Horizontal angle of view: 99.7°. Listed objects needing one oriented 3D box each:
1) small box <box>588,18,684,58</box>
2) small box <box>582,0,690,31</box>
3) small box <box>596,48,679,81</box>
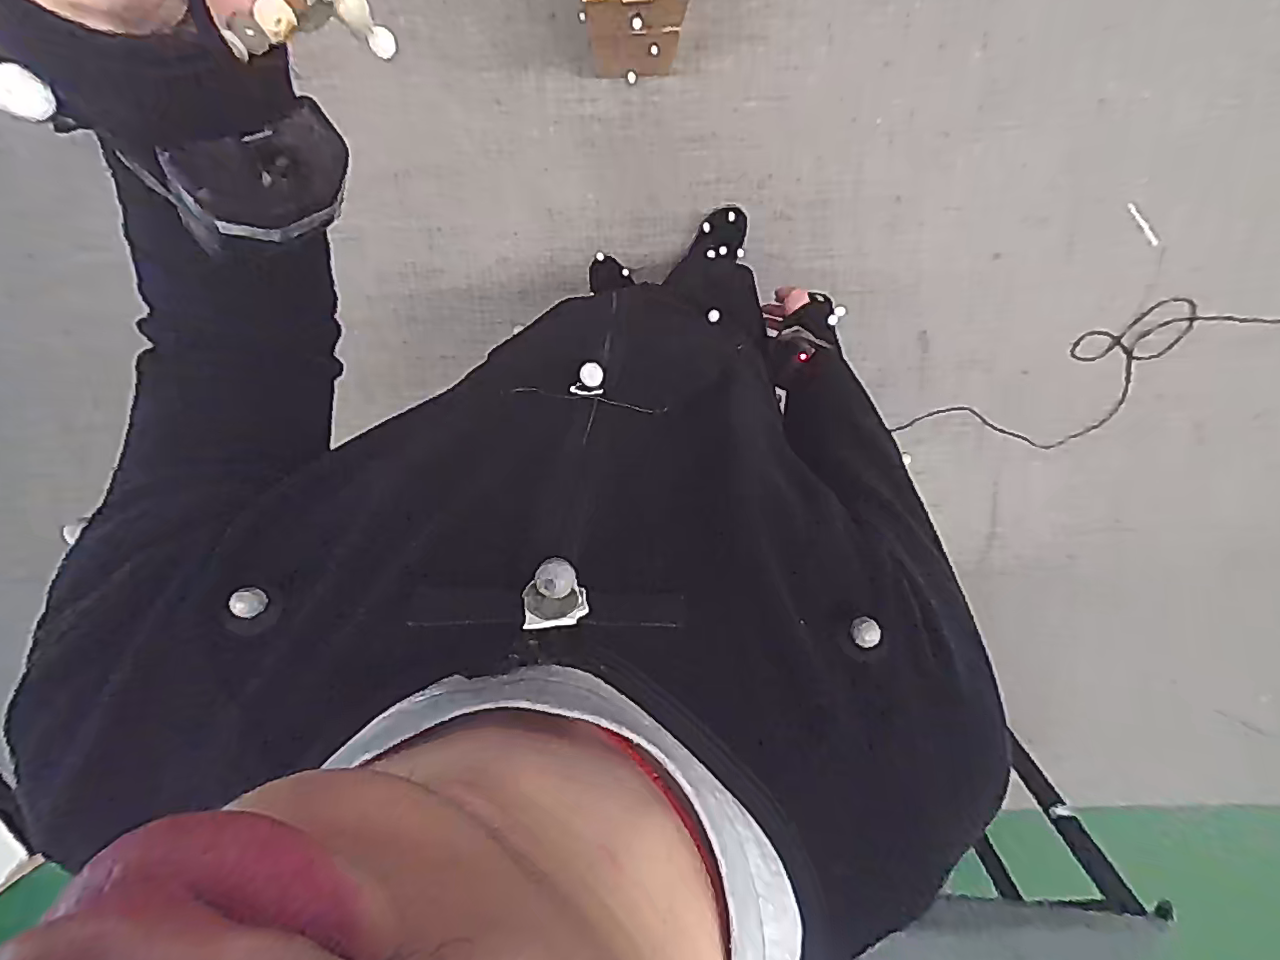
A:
[{"bbox_3d":[-0.009,-0.874,0.955,0.168,0.176,0.179,-3,114,1],"label":"small box"},{"bbox_3d":[-0.009,-0.804,0.808,0.168,0.176,0.179,-5,116,2],"label":"small box"},{"bbox_3d":[-0.008,-0.943,1.101,0.168,0.176,0.179,-2,116,2],"label":"small box"}]
